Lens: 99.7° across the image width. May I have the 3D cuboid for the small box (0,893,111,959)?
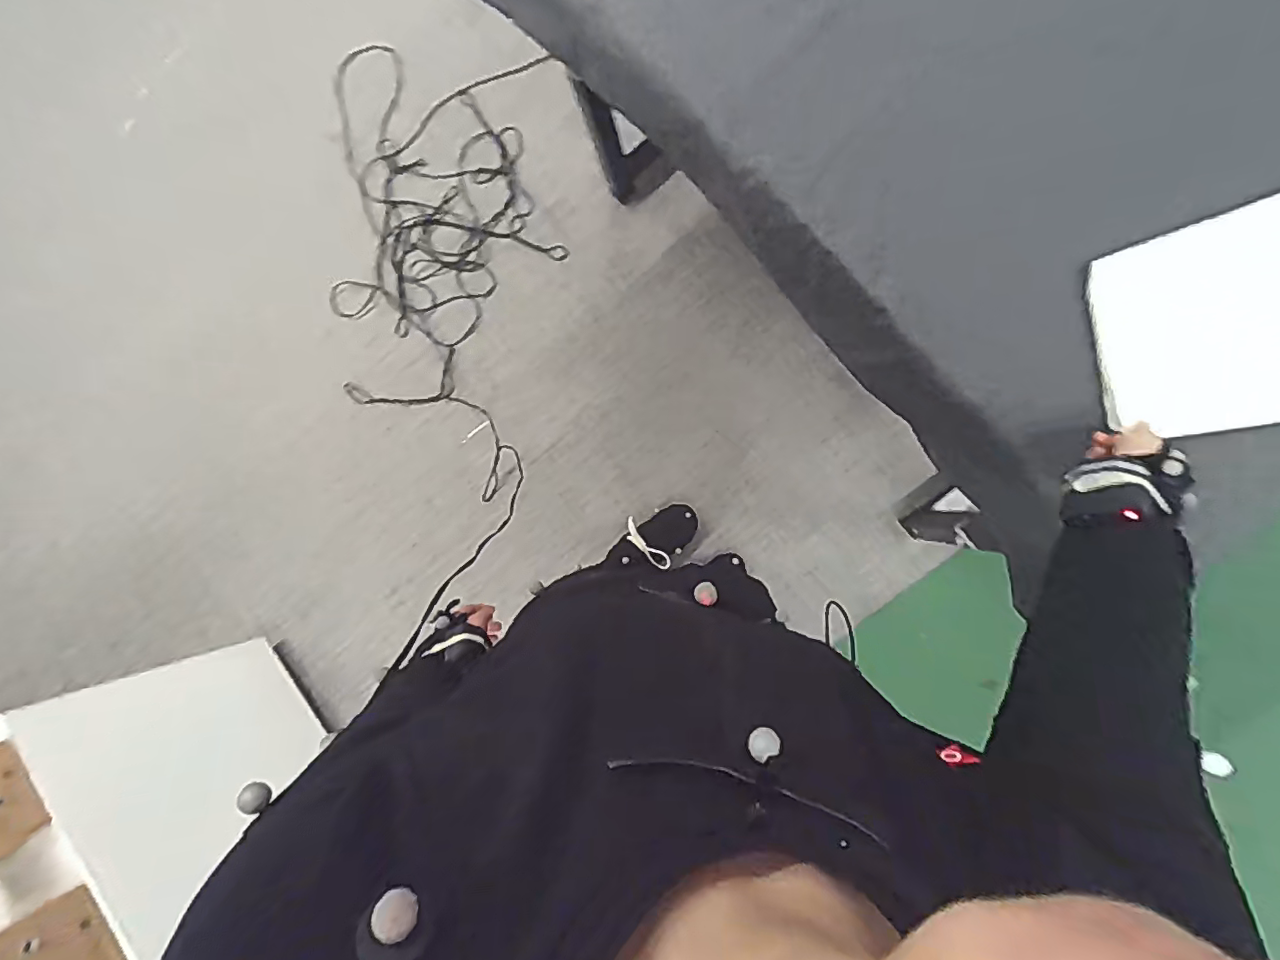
[{"bbox_3d":[-0.941,0.774,0.800,0.179,0.176,0.168,-38,81,7],"label":"small box"}]

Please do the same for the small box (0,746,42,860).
[{"bbox_3d":[-1.108,0.556,0.833,0.179,0.176,0.168,-38,83,5],"label":"small box"}]
